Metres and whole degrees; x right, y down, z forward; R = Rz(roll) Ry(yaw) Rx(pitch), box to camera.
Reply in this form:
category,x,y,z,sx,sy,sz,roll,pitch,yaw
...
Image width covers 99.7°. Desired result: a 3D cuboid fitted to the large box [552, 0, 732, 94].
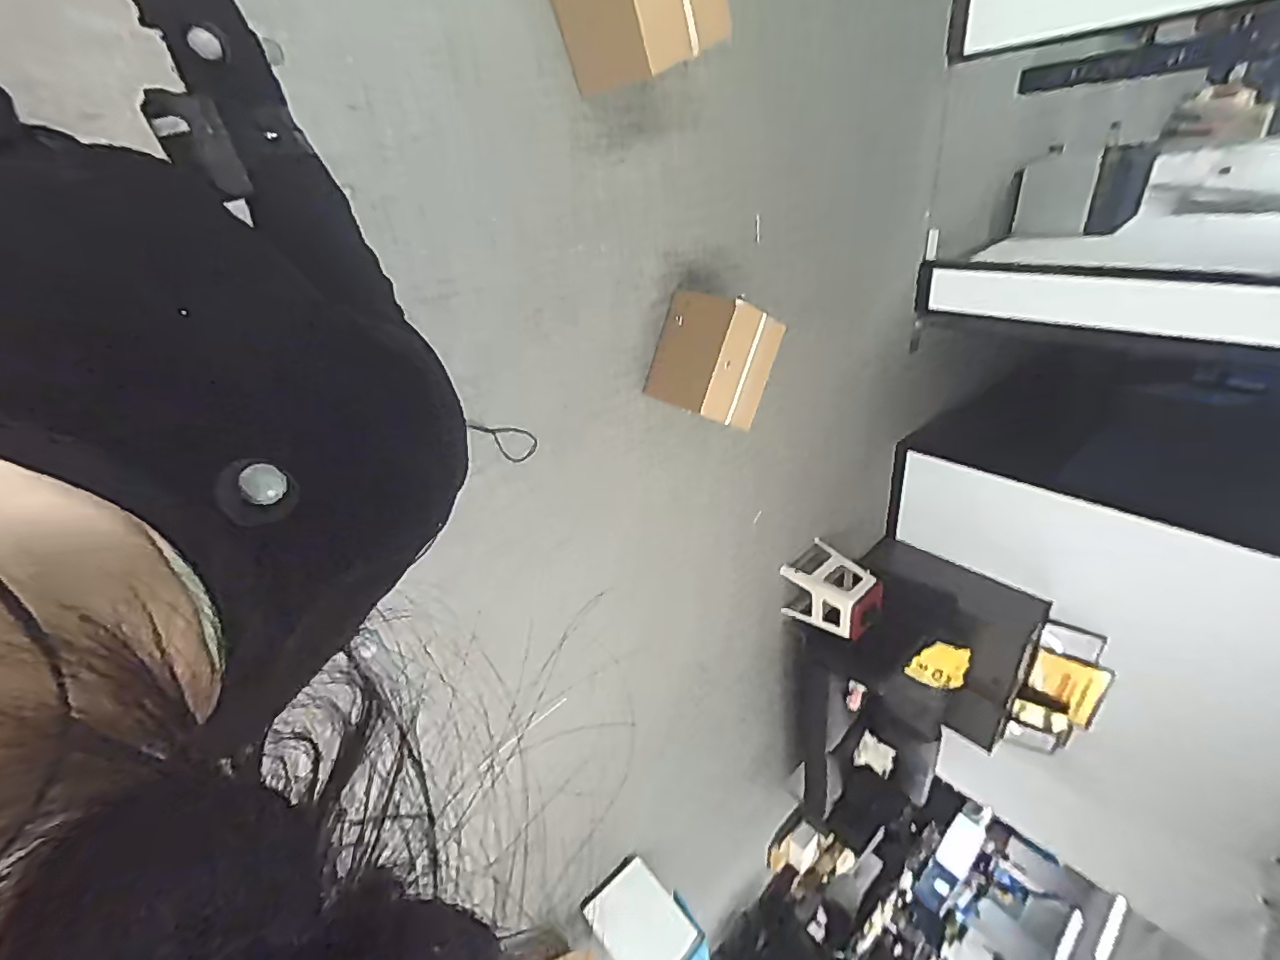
category,x,y,z,sx,sy,sz,roll,pitch,yaw
large box,-0.024,-1.268,1.345,0.320,0.320,0.408,-42,132,-21
